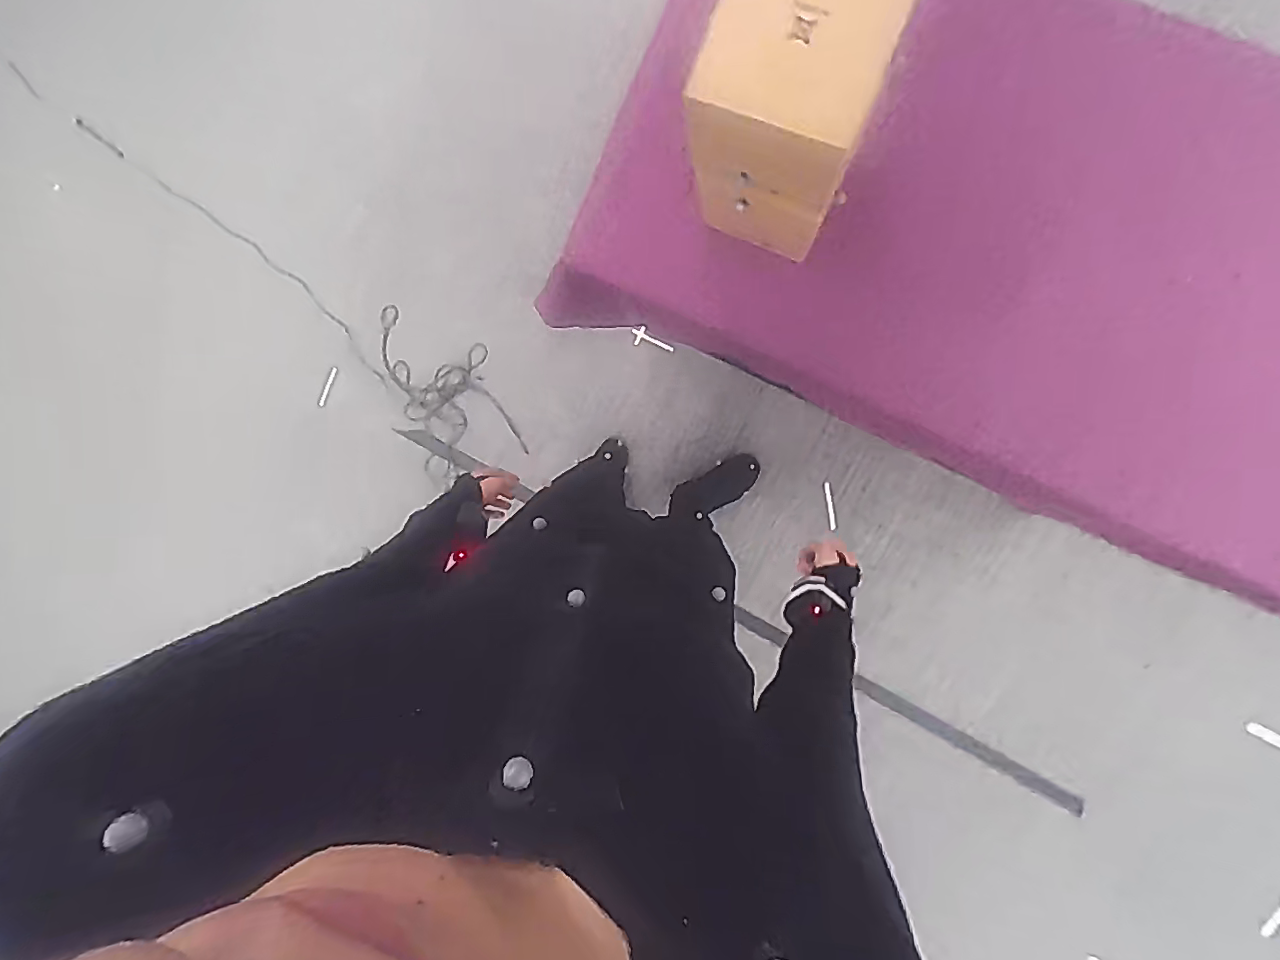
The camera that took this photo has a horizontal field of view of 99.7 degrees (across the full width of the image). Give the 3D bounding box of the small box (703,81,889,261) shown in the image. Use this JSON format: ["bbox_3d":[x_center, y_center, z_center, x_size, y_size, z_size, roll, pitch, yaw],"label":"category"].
[{"bbox_3d":[0.196,-0.428,0.728,0.168,0.176,0.179,26,99,7],"label":"small box"}]

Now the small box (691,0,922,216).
[{"bbox_3d":[0.165,-0.416,0.568,0.168,0.176,0.179,24,99,7],"label":"small box"}]
